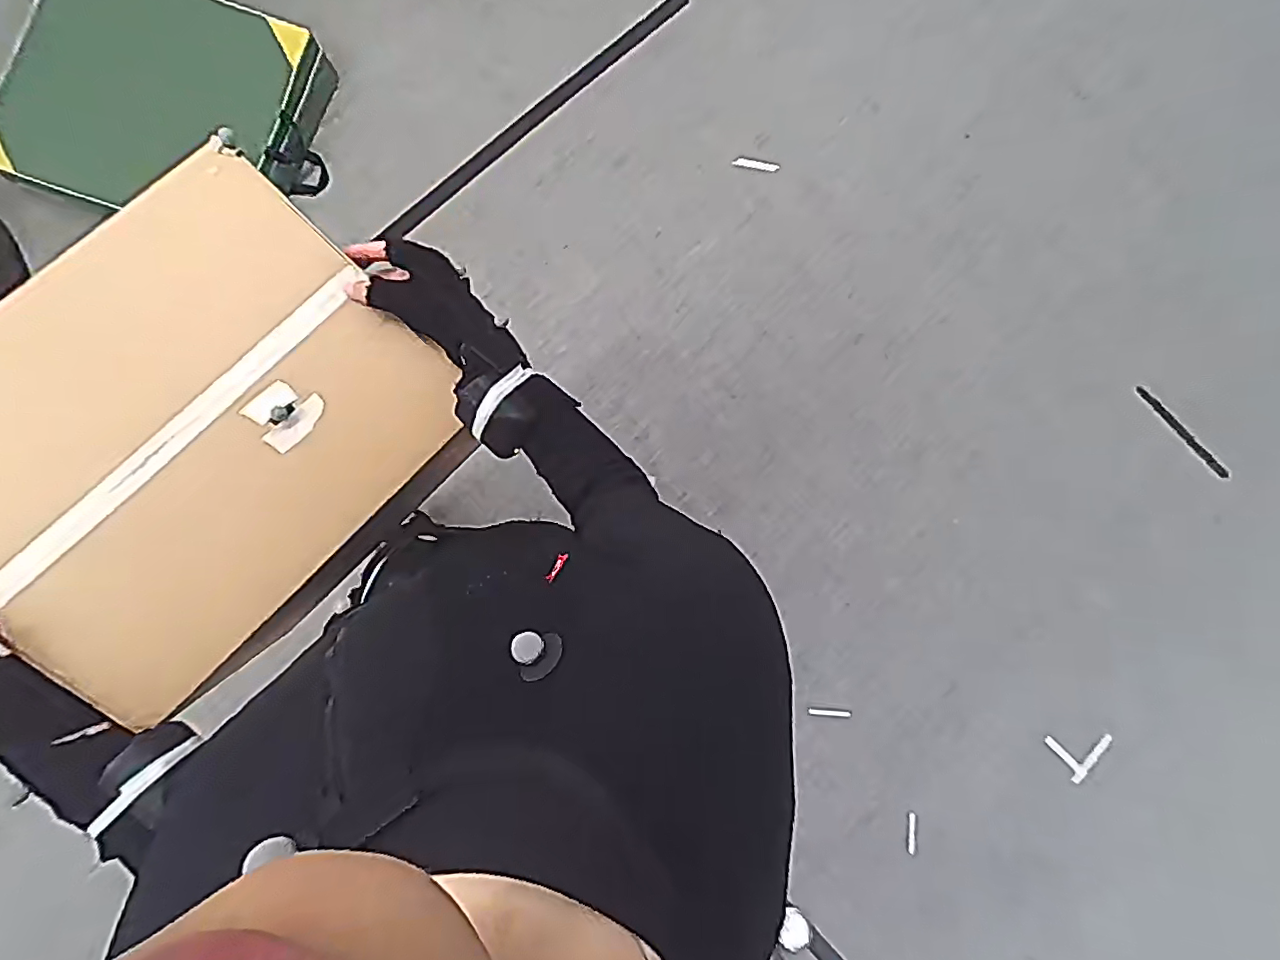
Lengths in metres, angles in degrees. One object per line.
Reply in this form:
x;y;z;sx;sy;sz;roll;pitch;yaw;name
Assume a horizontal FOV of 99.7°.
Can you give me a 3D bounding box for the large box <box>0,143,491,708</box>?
-0.419;-0.048;0.609;0.320;0.320;0.408;45;79;-11;large box
